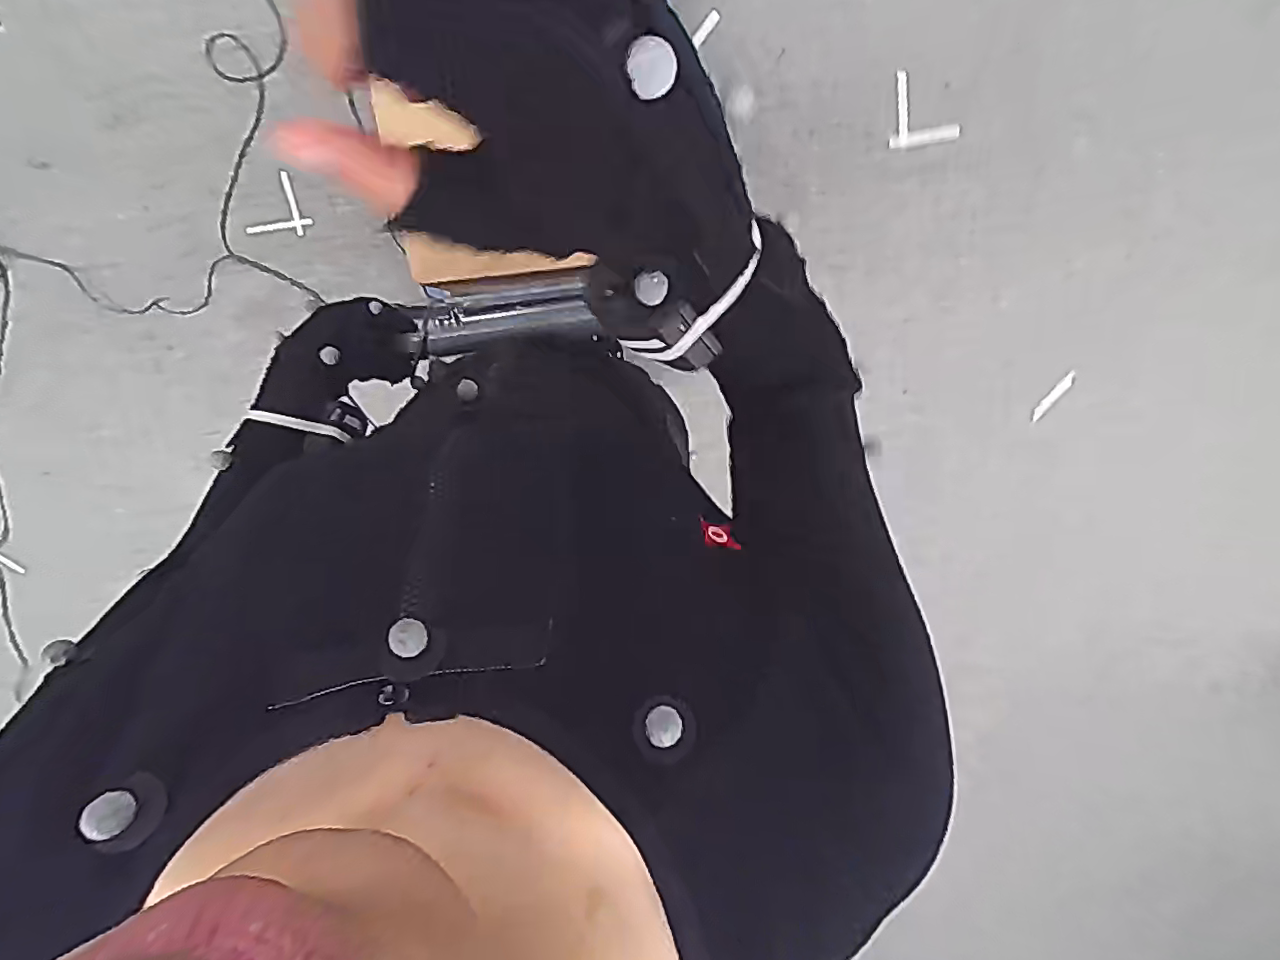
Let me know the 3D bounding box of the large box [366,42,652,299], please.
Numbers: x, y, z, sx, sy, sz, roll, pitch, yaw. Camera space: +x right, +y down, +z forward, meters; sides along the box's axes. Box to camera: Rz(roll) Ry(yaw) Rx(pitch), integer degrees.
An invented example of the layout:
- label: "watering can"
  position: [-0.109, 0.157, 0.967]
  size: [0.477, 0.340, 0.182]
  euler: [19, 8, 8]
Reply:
- label: "large box"
  position: [-0.208, -0.528, 0.994]
  size: [0.408, 0.320, 0.320]
  euler: [-8, 107, -3]
